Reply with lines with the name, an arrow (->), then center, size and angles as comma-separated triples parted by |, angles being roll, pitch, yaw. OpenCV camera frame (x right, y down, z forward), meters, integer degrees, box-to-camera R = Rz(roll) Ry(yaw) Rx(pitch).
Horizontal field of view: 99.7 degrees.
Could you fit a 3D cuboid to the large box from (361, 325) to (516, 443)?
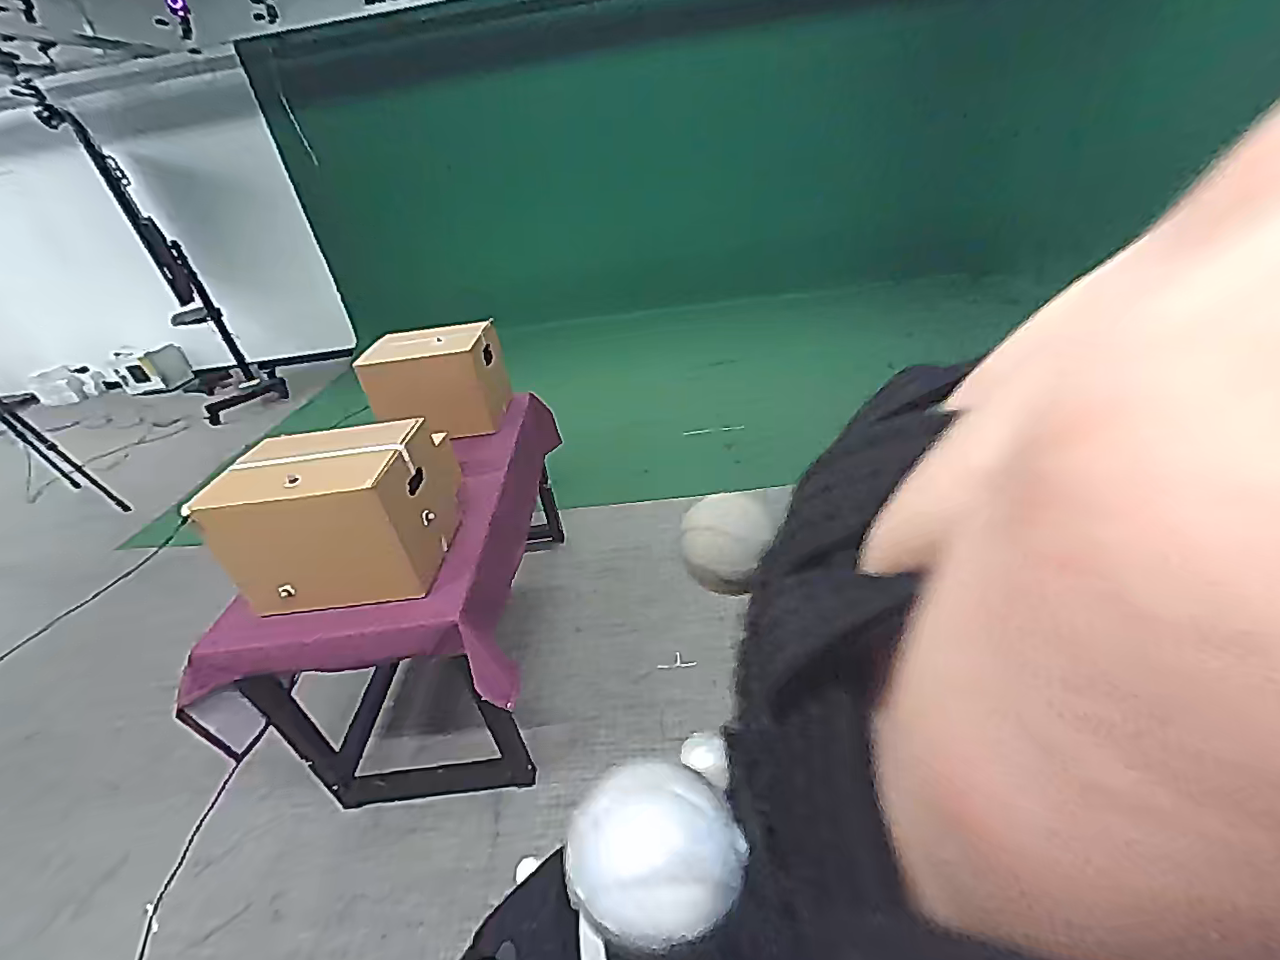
large box -> -0.708, -0.351, 1.964 | 0.408, 0.320, 0.320 | -5, 33, 4
